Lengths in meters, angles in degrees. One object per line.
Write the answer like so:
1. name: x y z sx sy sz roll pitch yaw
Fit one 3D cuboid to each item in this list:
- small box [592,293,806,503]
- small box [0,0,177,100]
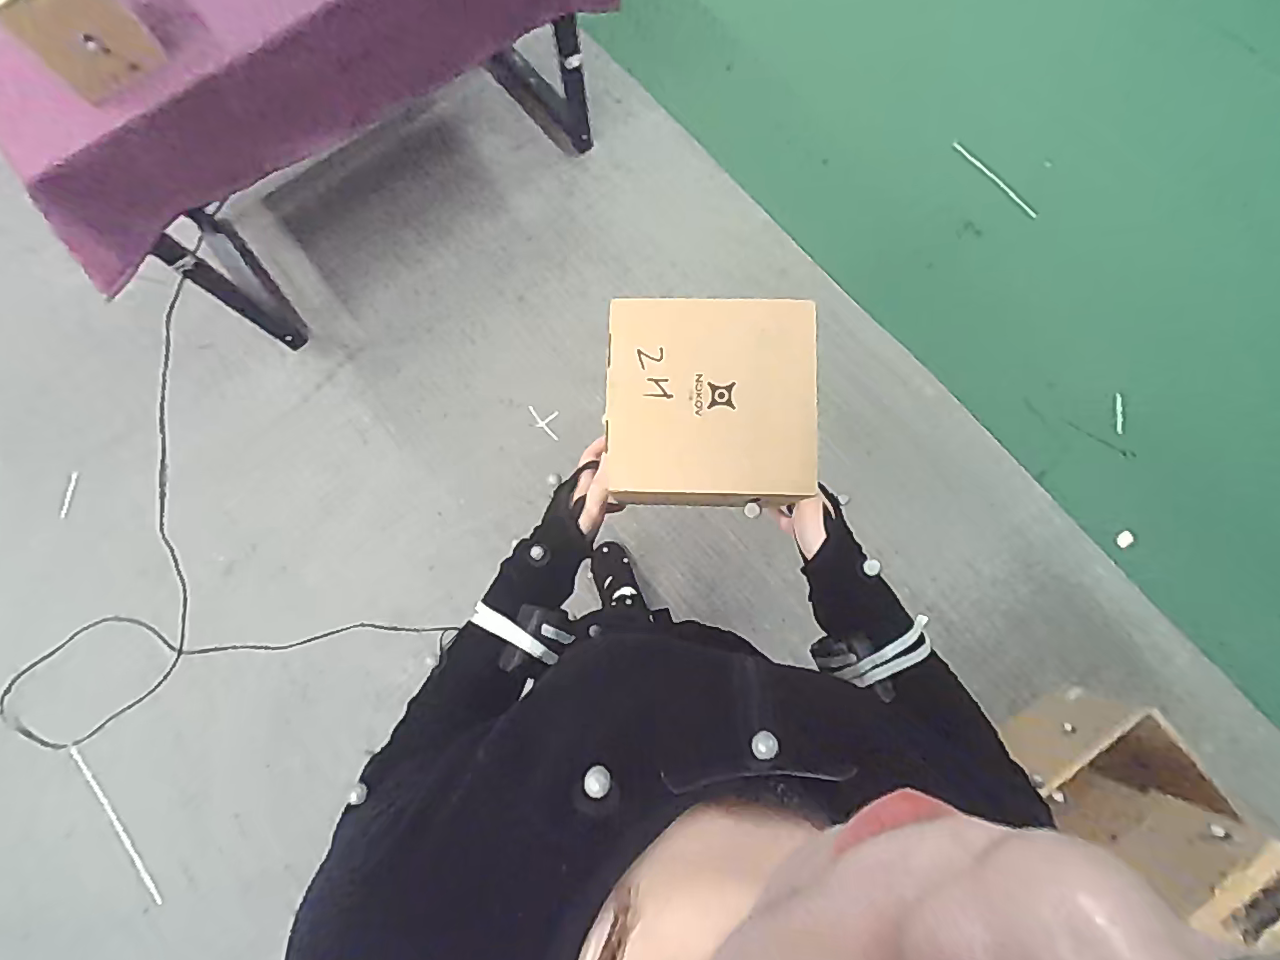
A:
1. small box: 0.053 -0.067 0.527 0.179 0.176 0.168 1 83 4
2. small box: -0.979 -0.815 0.947 0.168 0.176 0.179 -38 80 -7
